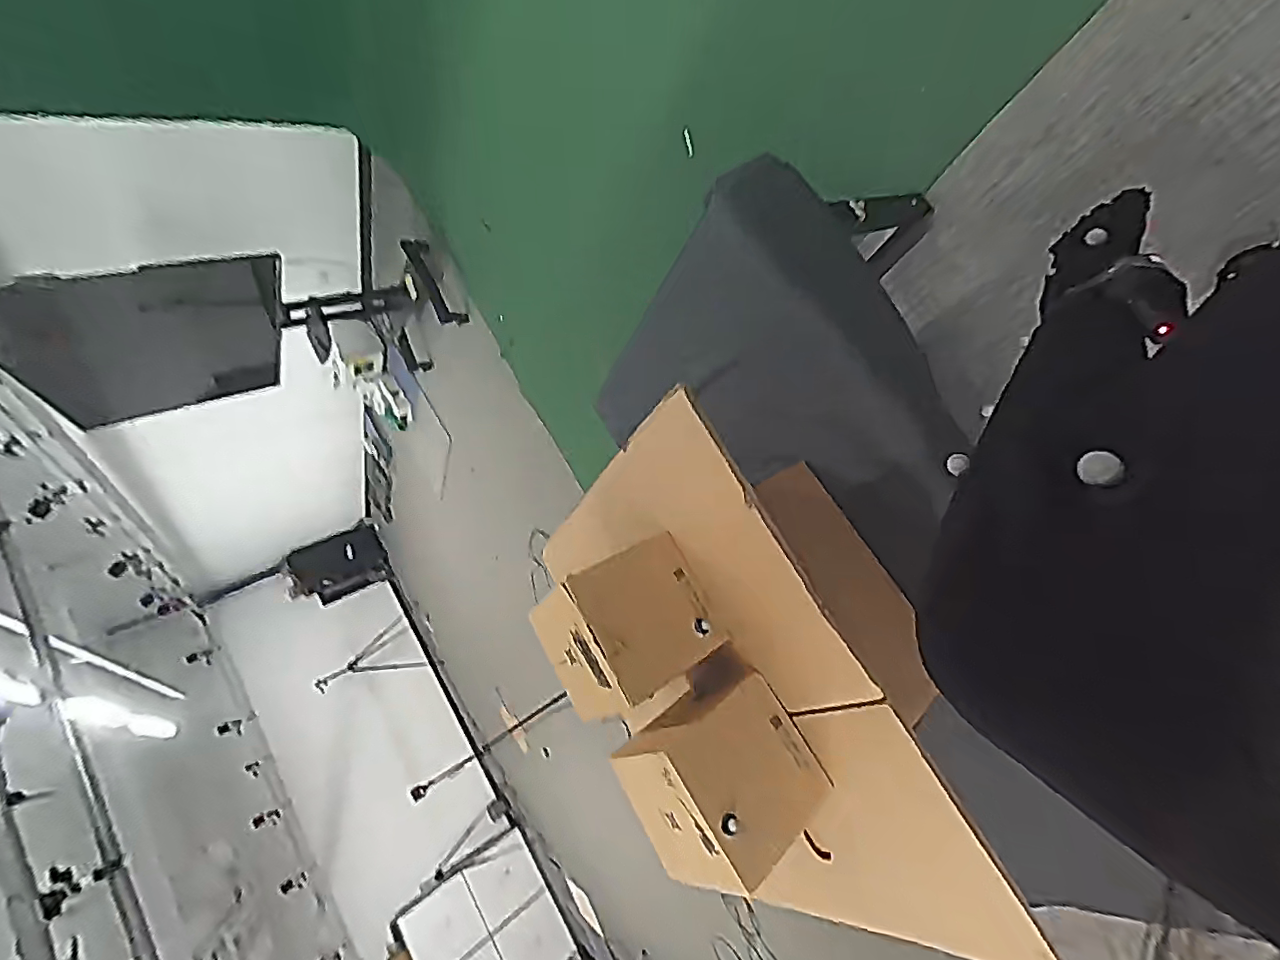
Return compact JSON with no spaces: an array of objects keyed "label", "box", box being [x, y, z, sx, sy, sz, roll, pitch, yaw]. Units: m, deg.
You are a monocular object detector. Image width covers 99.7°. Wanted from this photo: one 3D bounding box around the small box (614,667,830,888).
[{"label":"small box","box":[0.101,0.363,0.687,0.168,0.176,0.179,57,145,11]}]
